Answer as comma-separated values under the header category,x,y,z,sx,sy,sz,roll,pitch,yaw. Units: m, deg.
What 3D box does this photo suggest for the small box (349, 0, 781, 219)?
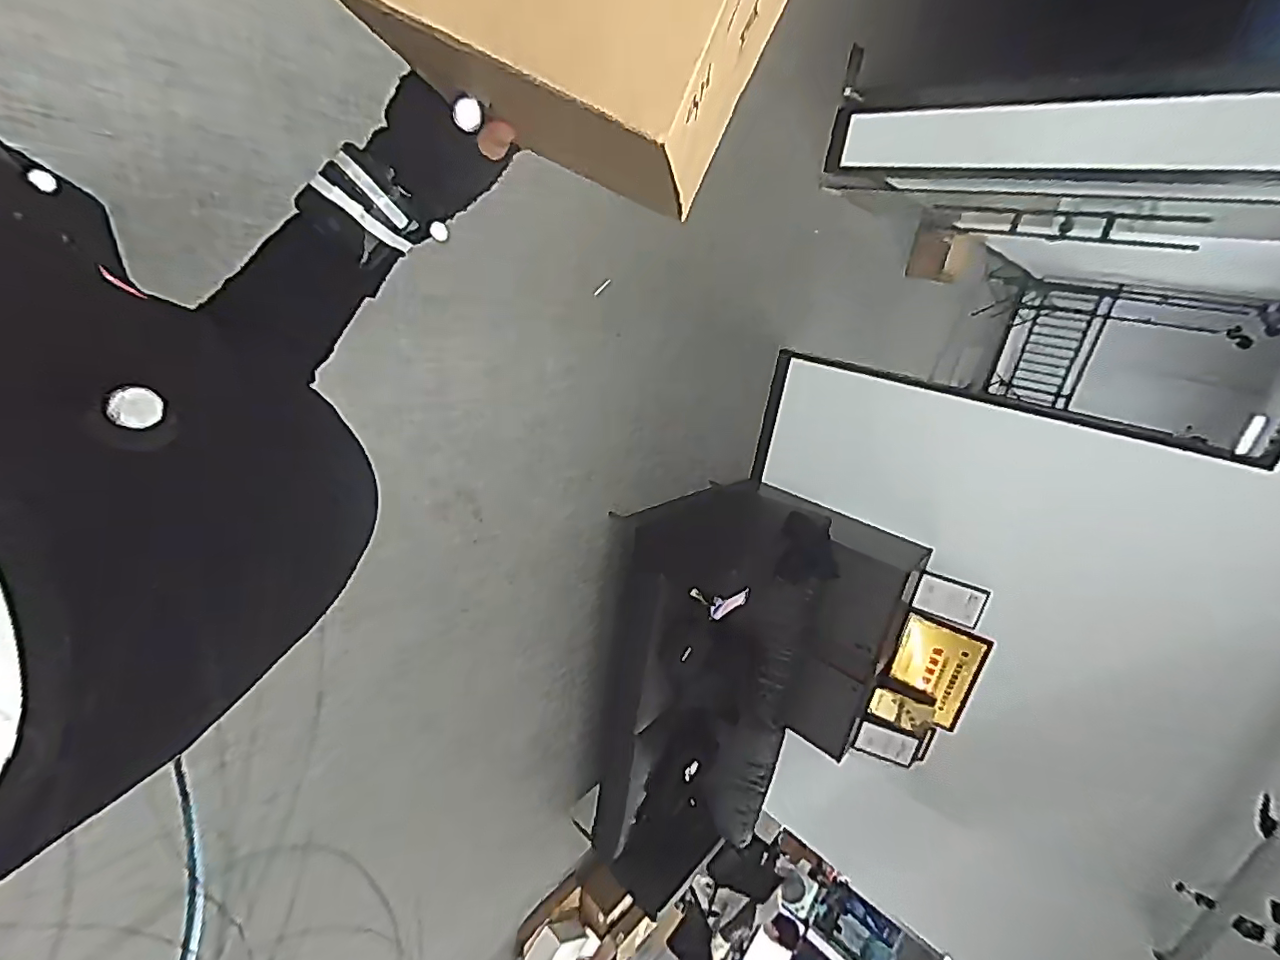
category,x,y,z,sx,sy,sz,roll,pitch,yaw
small box,-0.019,-0.264,0.275,0.179,0.176,0.168,-71,-173,-73
